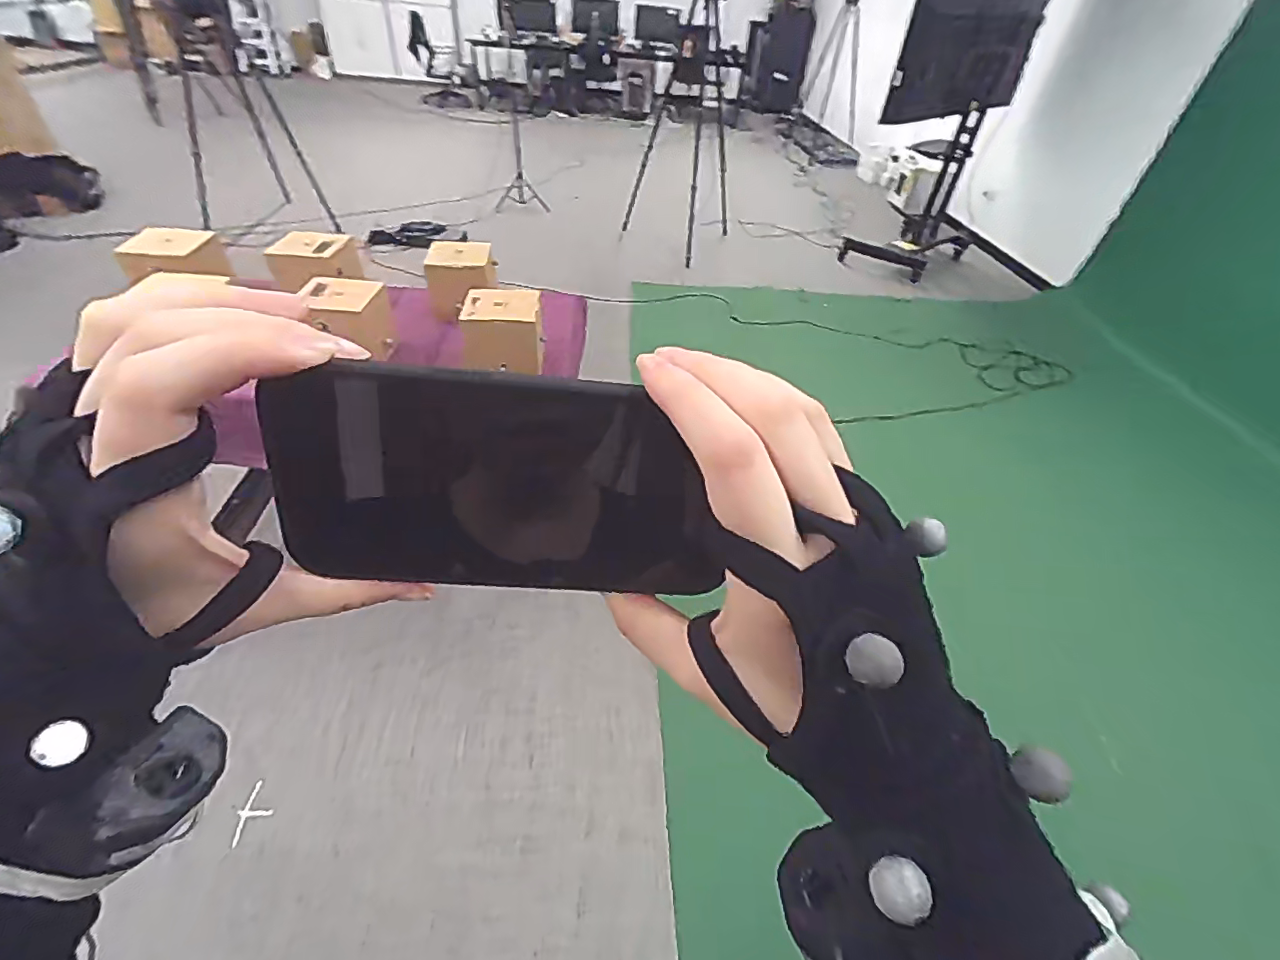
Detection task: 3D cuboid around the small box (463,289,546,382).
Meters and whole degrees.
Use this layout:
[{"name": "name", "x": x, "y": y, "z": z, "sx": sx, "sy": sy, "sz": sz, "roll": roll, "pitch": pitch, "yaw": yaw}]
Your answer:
[{"name": "small box", "x": -0.330, "y": -0.359, "z": 1.359, "sx": 0.179, "sy": 0.176, "sz": 0.168, "roll": 1, "pitch": 43, "yaw": -5}]

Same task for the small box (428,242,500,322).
[{"name": "small box", "x": -0.501, "y": -0.573, "z": 1.570, "sx": 0.168, "sy": 0.176, "sz": 0.179, "roll": -1, "pitch": 44, "yaw": -6}]

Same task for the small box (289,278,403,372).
[{"name": "small box", "x": -0.719, "y": -0.383, "z": 1.346, "sx": 0.179, "sy": 0.176, "sz": 0.168, "roll": 4, "pitch": 43, "yaw": -3}]

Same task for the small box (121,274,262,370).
[{"name": "small box", "x": -1.070, "y": -0.382, "z": 1.309, "sx": 0.179, "sy": 0.176, "sz": 0.168, "roll": 3, "pitch": 43, "yaw": -4}]
